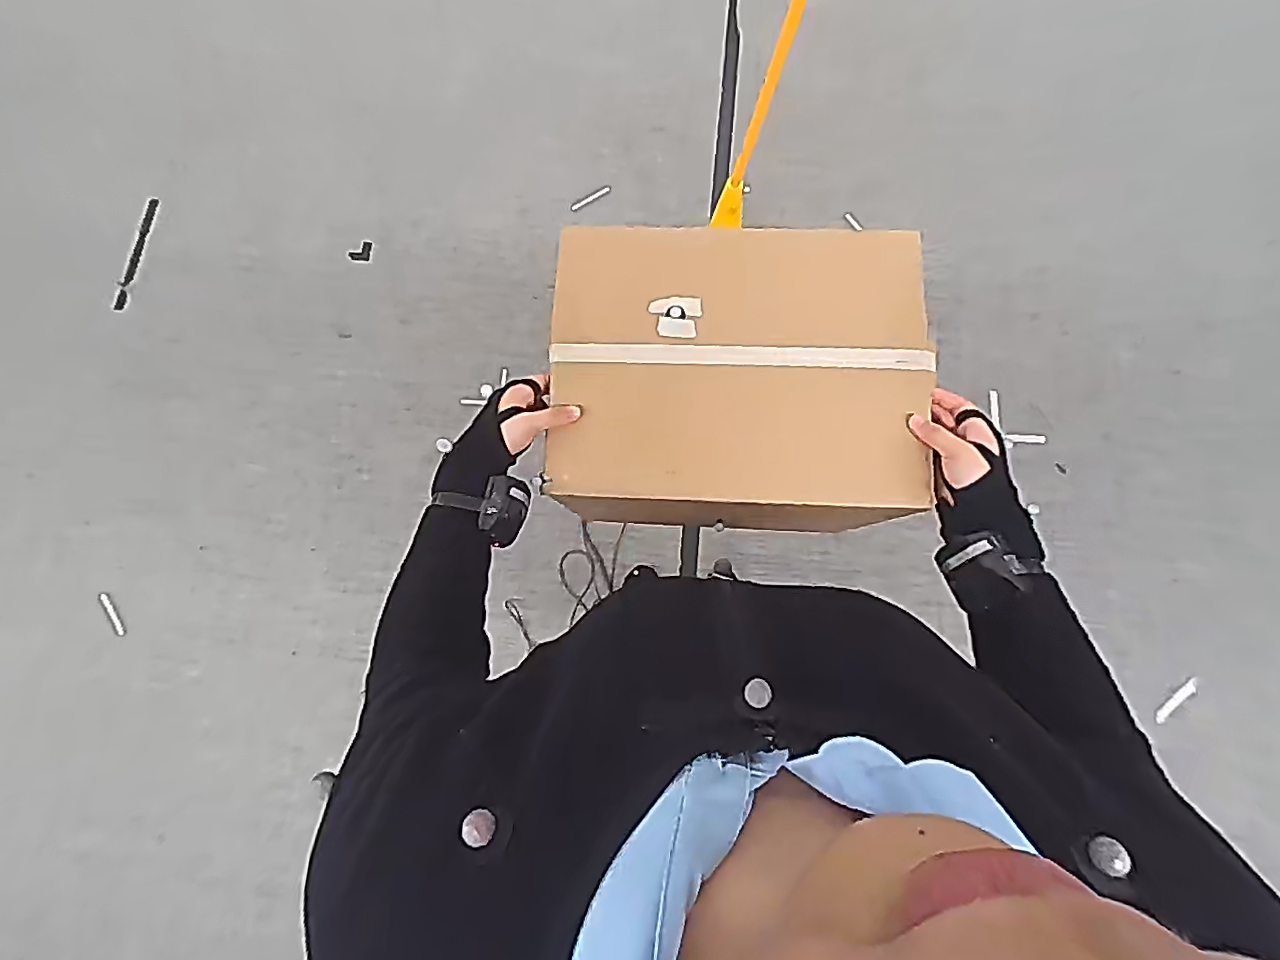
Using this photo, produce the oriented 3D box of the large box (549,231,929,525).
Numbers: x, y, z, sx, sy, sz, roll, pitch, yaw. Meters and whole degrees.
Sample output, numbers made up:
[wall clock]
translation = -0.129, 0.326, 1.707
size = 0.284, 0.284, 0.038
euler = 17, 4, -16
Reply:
[large box]
translation = 0.115, -0.105, 0.740
size = 0.408, 0.320, 0.320
euler = 1, 78, 4
